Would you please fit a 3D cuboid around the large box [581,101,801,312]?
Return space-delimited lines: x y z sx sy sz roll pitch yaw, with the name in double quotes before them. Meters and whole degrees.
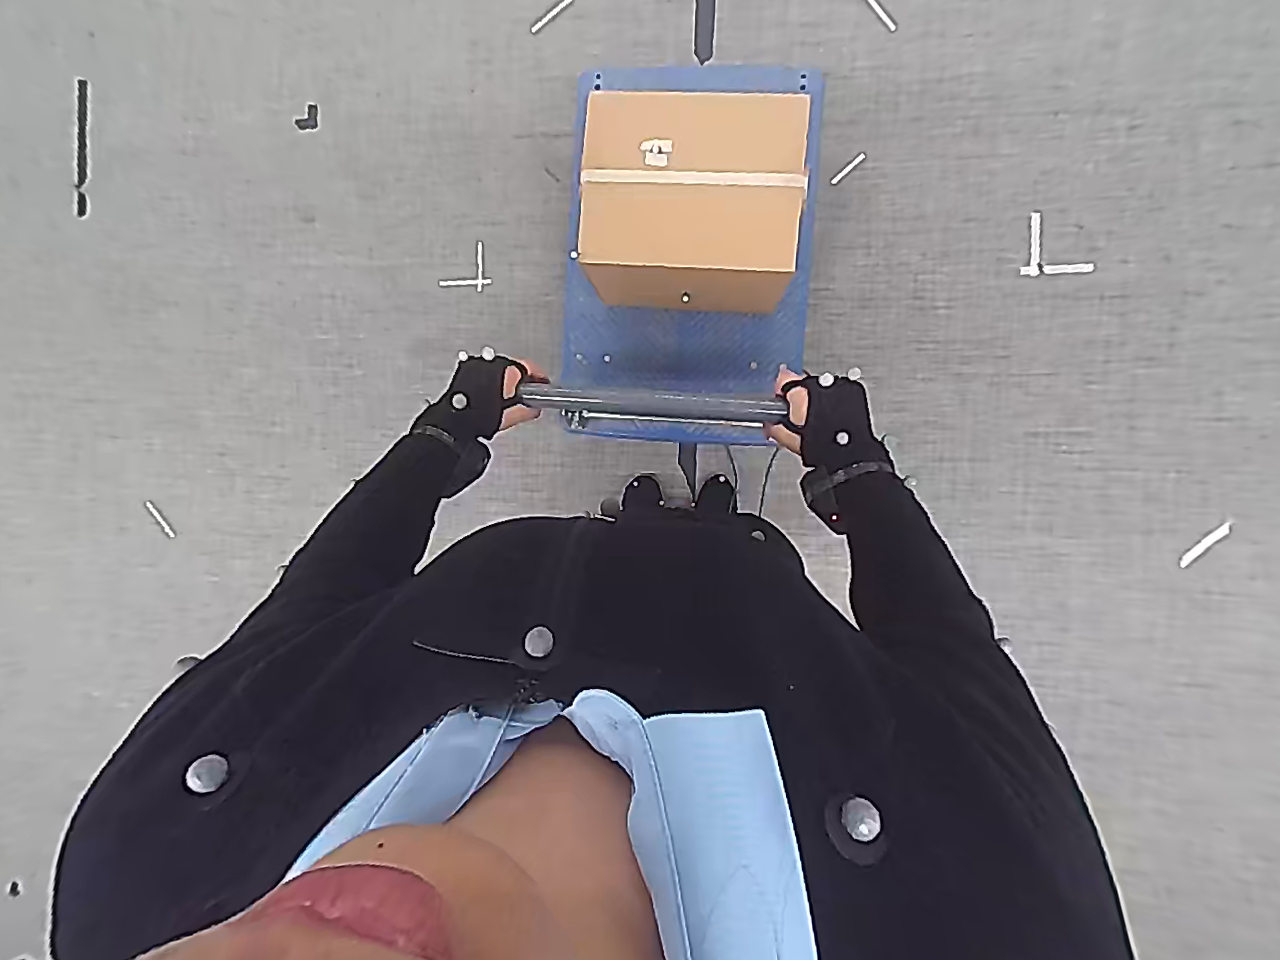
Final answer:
"large box" 0.109 -0.555 1.159 0.408 0.320 0.320 4 92 7
